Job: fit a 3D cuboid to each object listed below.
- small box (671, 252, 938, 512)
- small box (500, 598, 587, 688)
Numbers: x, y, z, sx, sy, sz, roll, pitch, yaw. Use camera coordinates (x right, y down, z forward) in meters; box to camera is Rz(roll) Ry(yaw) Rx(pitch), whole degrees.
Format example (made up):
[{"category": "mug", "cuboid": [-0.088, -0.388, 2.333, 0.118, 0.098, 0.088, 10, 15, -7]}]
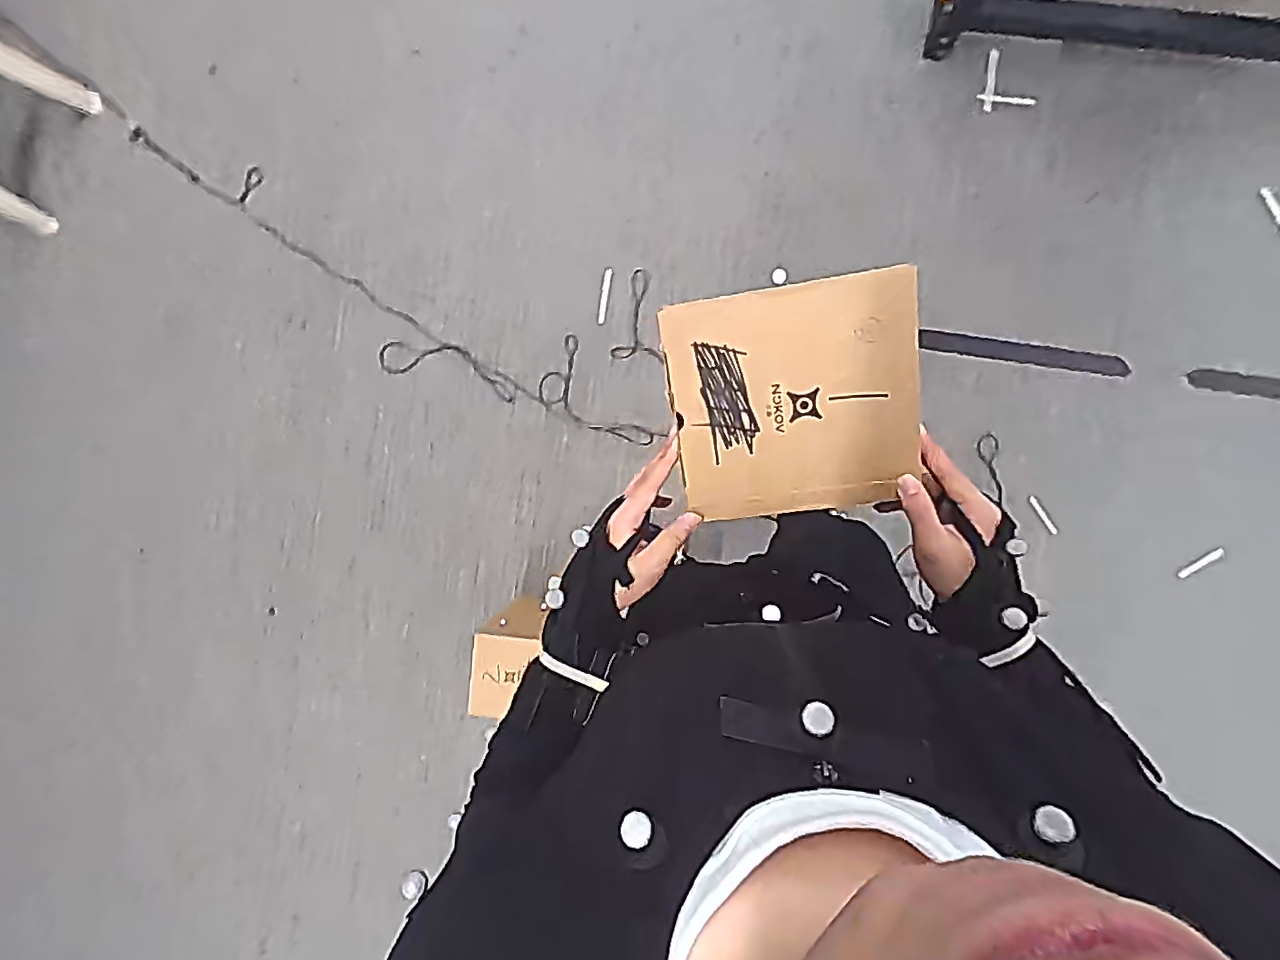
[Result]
[{"category": "small box", "cuboid": [0.127, -0.083, 0.457, 0.179, 0.176, 0.168, -7, 106, 8]}, {"category": "small box", "cuboid": [-0.228, 0.387, 1.303, 0.179, 0.176, 0.168, 0, 91, 2]}]
